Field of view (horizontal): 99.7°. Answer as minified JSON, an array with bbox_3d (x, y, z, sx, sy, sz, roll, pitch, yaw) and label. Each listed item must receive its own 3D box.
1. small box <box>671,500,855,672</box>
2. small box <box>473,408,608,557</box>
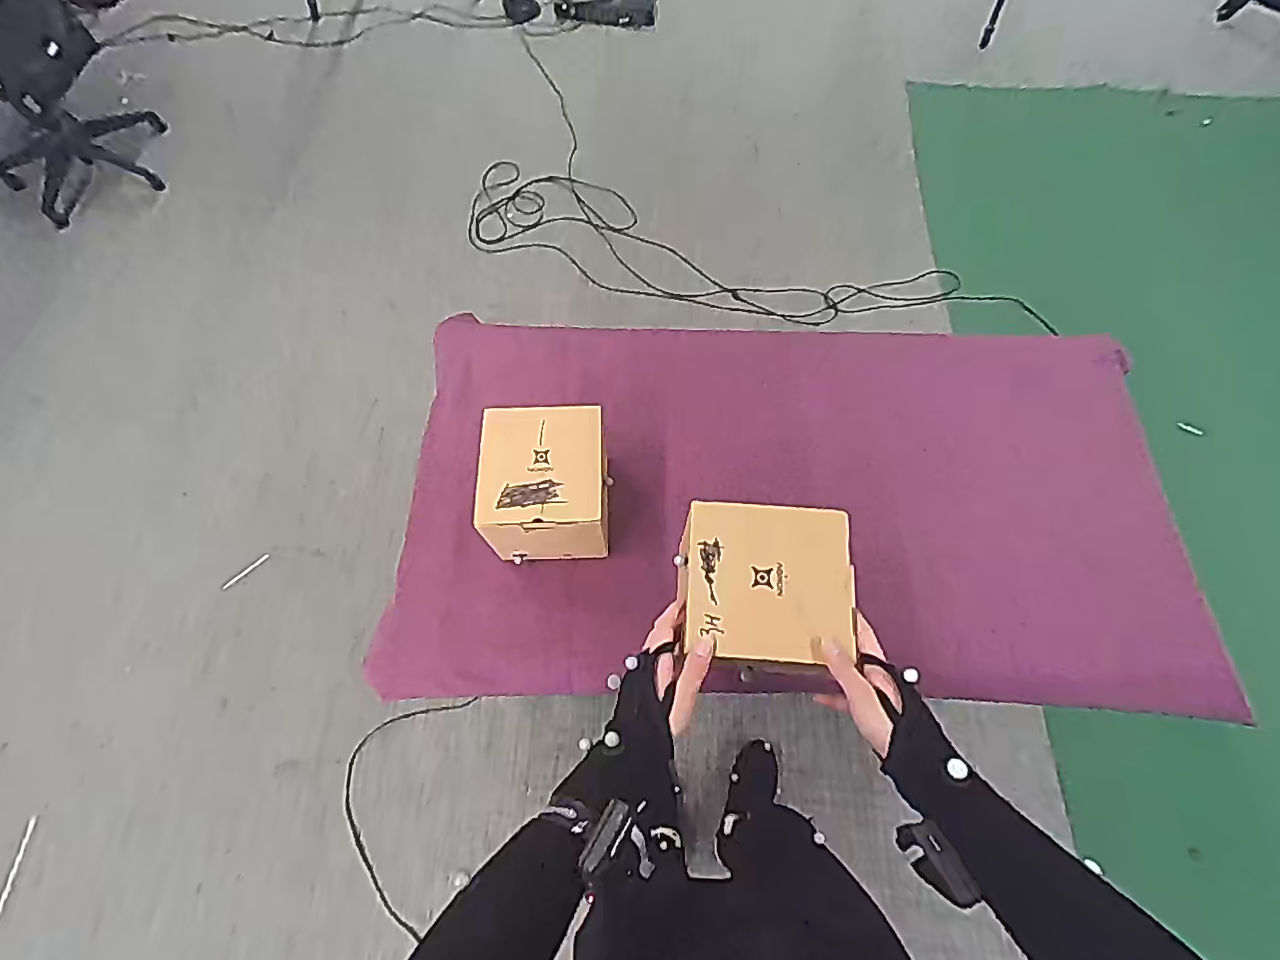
[{"bbox_3d":[0.136,0.135,0.645,0.179,0.176,0.168,5,68,1],"label":"small box"},{"bbox_3d":[-0.133,0.012,0.794,0.168,0.176,0.179,-1,65,-1],"label":"small box"}]
